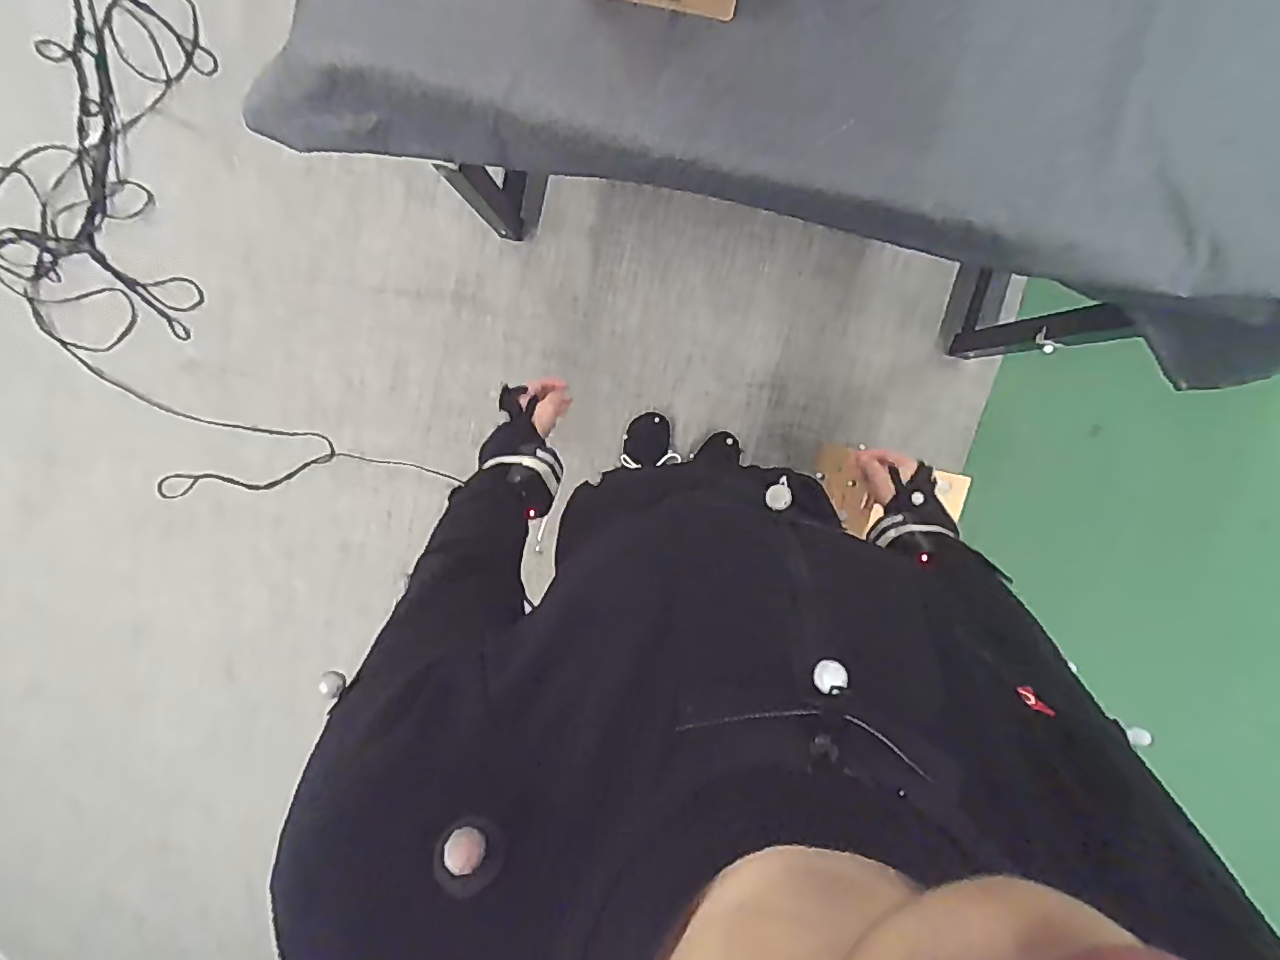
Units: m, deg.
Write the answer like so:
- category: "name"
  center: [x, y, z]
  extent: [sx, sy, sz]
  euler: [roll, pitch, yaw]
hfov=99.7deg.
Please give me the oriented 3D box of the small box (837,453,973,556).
- category: "small box"
  center: [0.539, 0.043, 1.124]
  extent: [0.179, 0.176, 0.168]
  euler: [12, 98, -1]

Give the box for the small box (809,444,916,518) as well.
- category: "small box"
  center: [0.523, 0.013, 1.286]
  extent: [0.179, 0.176, 0.168]
  euler: [13, 97, -1]

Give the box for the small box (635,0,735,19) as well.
- category: "small box"
  center: [0.031, -0.566, 0.470]
  extent: [0.168, 0.176, 0.179]
  euler: [11, 99, -1]
